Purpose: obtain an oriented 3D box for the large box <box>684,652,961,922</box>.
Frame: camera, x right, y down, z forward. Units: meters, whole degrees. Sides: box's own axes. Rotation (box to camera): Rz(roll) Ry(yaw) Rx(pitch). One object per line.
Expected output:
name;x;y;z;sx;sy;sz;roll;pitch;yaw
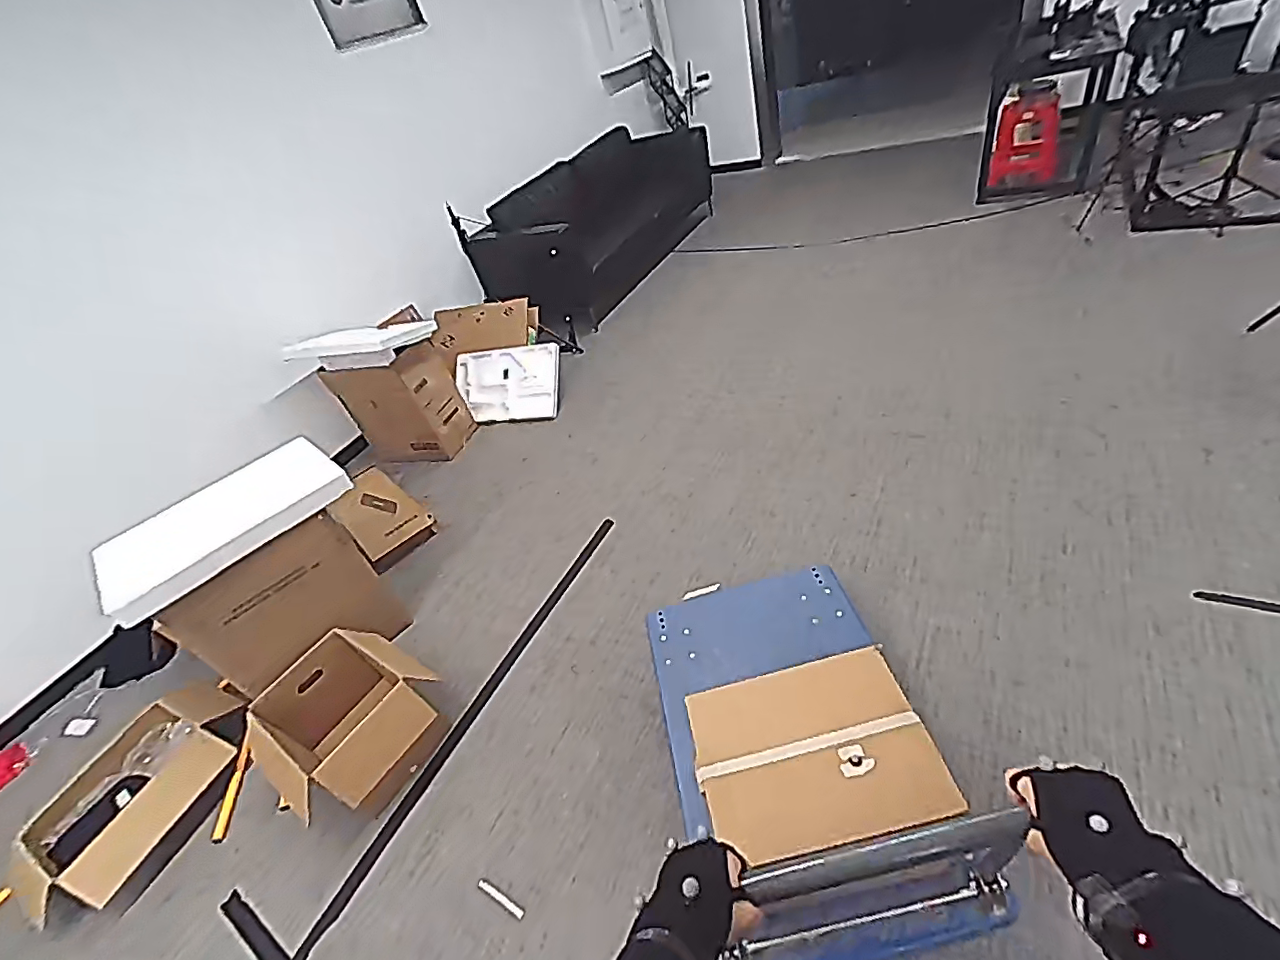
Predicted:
large box;0.333;0.603;1.069;0.408;0.320;0.320;-16;39;2
